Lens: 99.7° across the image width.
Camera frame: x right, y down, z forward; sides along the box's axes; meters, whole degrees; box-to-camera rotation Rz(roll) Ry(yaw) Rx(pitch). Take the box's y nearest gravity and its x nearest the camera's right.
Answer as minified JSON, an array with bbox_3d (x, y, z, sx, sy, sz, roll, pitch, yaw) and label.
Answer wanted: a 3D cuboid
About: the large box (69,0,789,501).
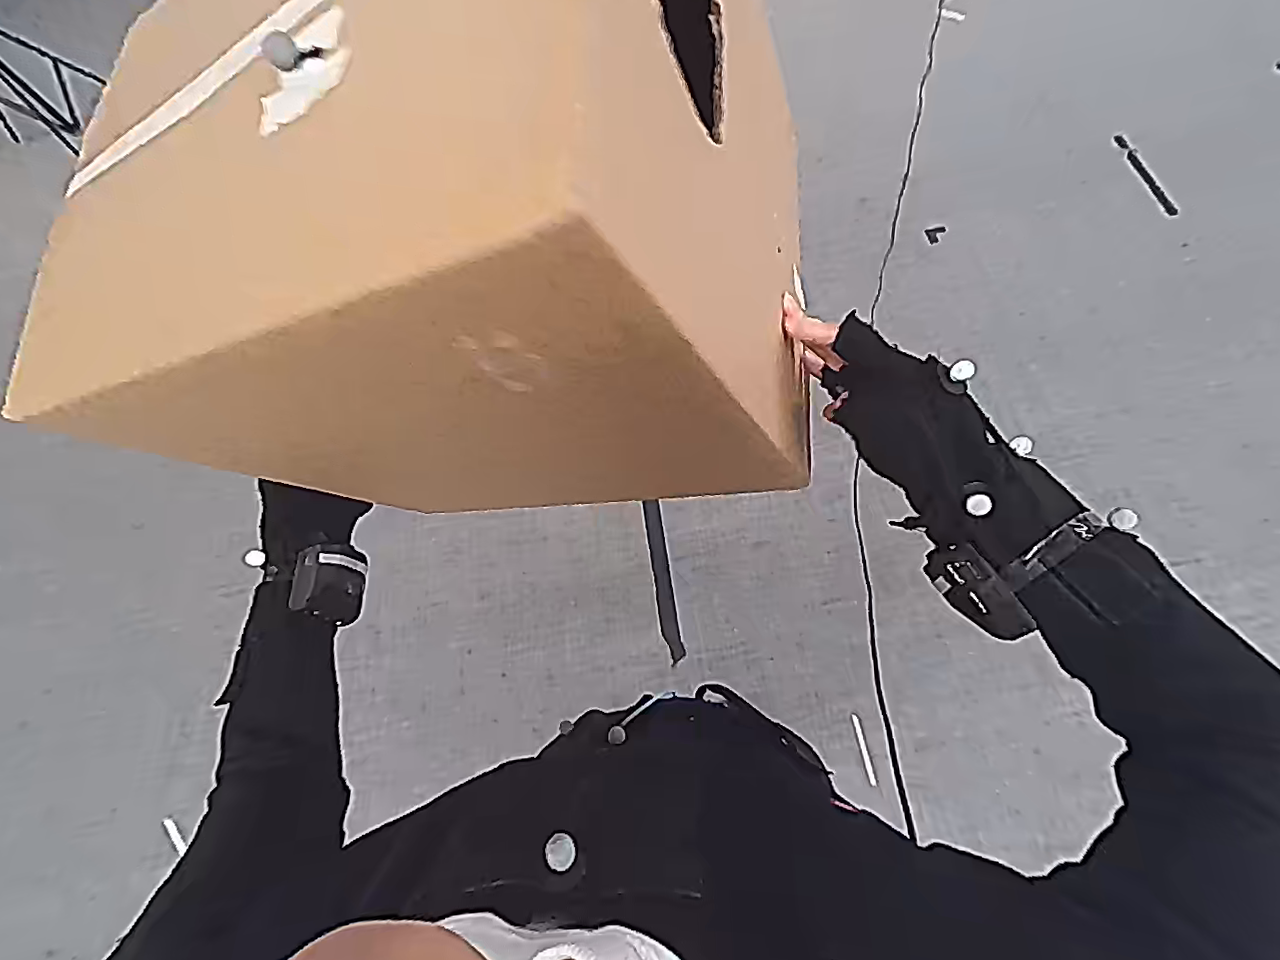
[{"bbox_3d":[-0.119,-0.175,0.427,0.408,0.320,0.320,-5,75,26],"label":"large box"}]
